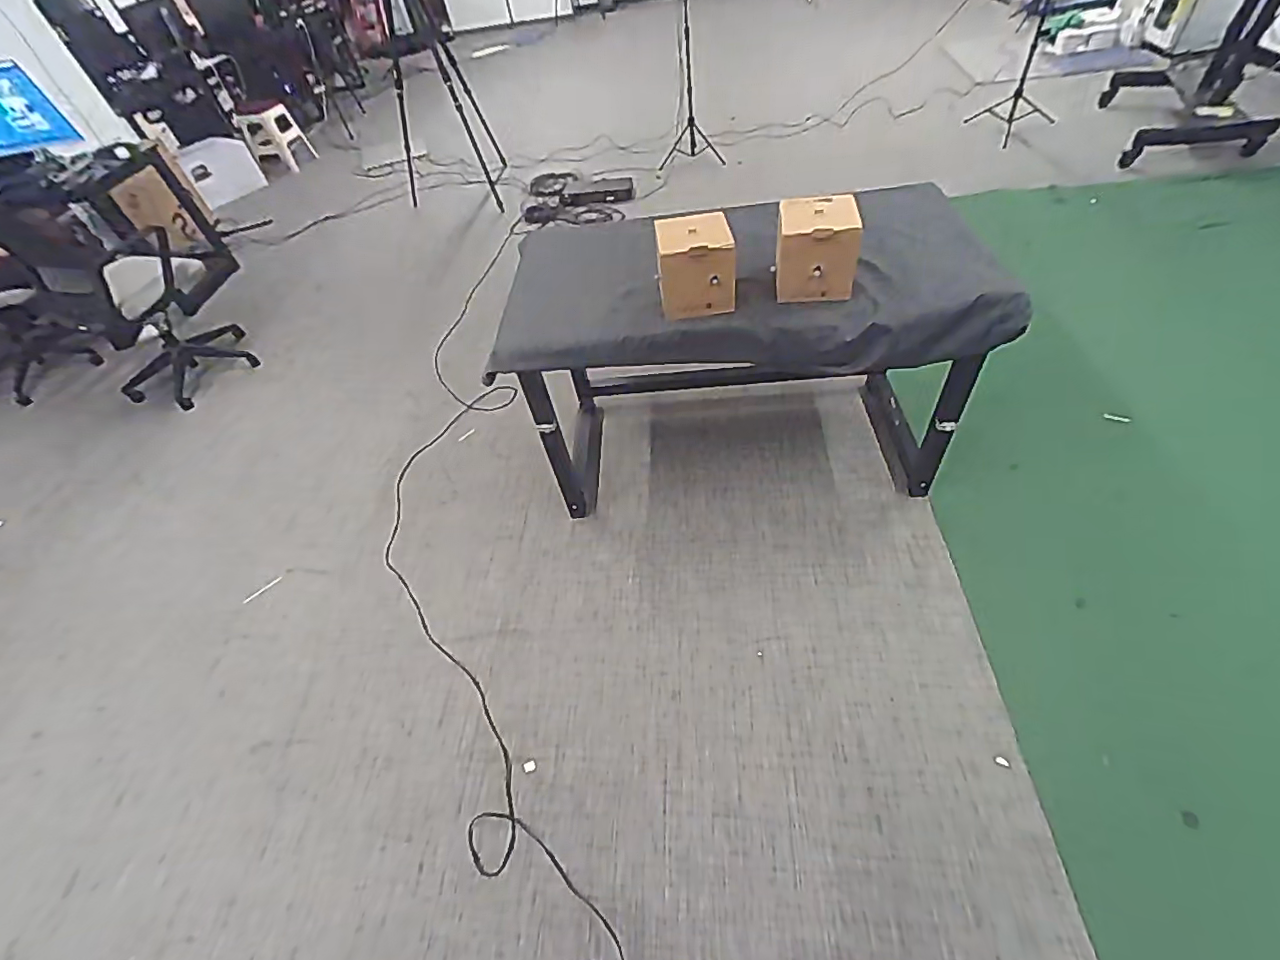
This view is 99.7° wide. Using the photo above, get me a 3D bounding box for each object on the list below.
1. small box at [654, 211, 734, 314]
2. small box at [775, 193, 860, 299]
[{"bbox_3d":[0.127,-0.505,1.273,0.168,0.176,0.179,-7,47,1],"label":"small box"},{"bbox_3d":[0.404,-0.536,1.254,0.168,0.176,0.179,1,50,11],"label":"small box"}]
